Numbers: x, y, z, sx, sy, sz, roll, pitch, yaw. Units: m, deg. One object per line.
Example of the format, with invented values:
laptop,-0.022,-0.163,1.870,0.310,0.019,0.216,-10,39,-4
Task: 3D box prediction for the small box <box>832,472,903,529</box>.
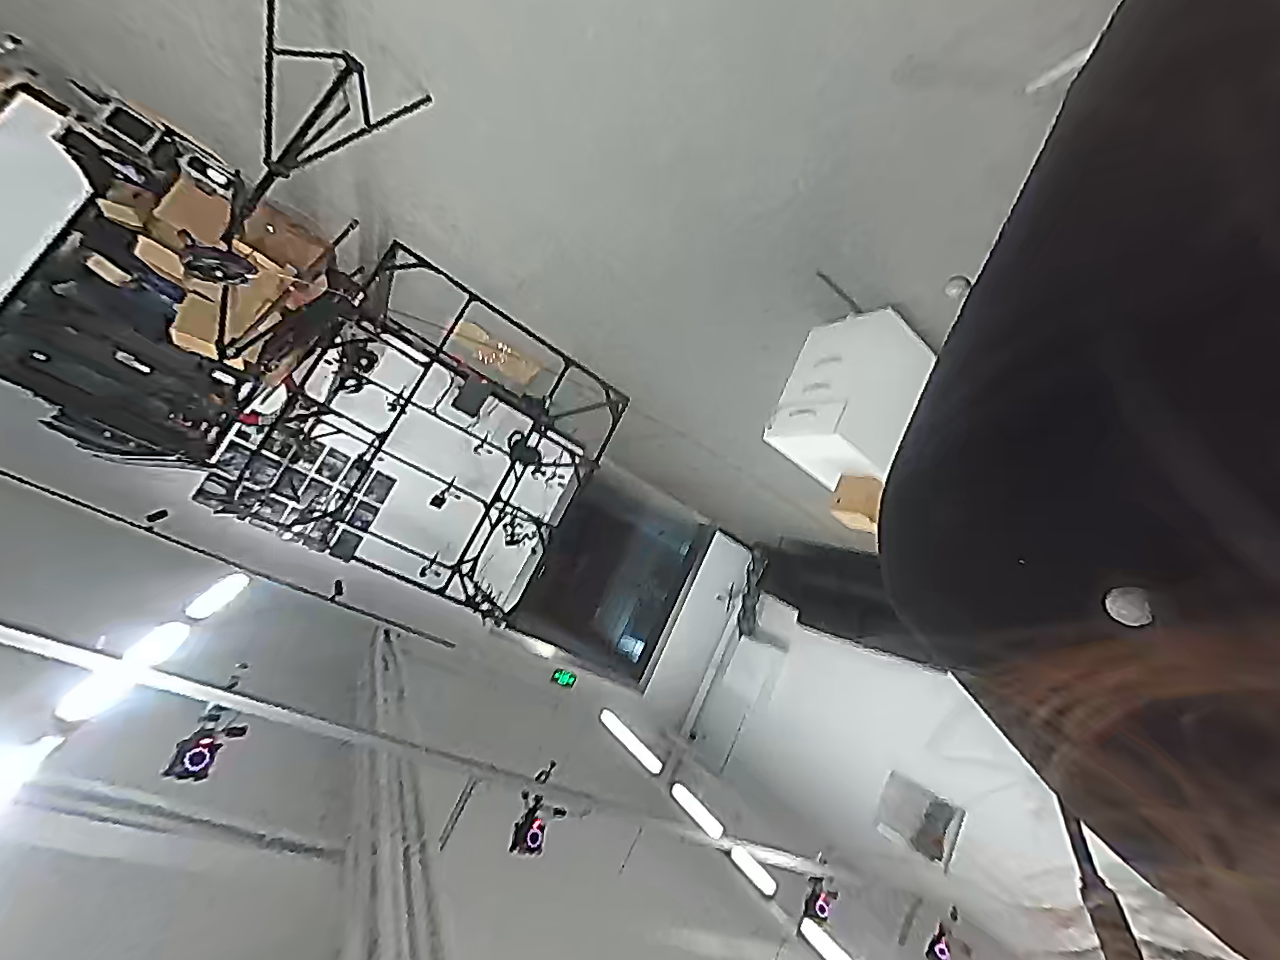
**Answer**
small box,0.930,0.079,2.204,0.168,0.176,0.179,31,169,-24
